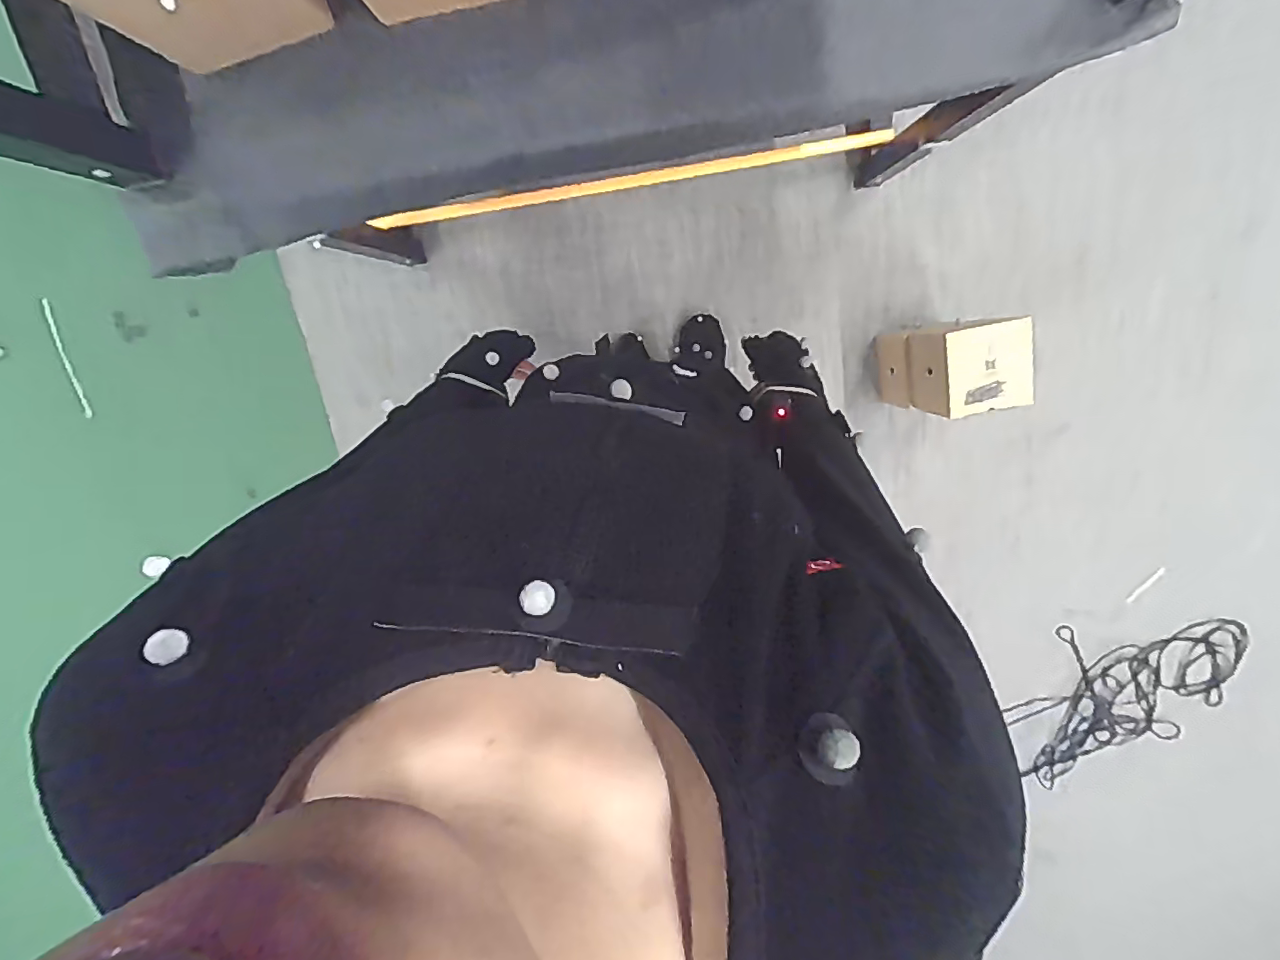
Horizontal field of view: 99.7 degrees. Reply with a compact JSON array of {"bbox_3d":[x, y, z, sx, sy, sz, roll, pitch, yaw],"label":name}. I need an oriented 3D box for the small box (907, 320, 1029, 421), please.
[{"bbox_3d":[0.689,-0.236,1.149,0.168,0.176,0.179,-10,104,5],"label":"small box"}]
